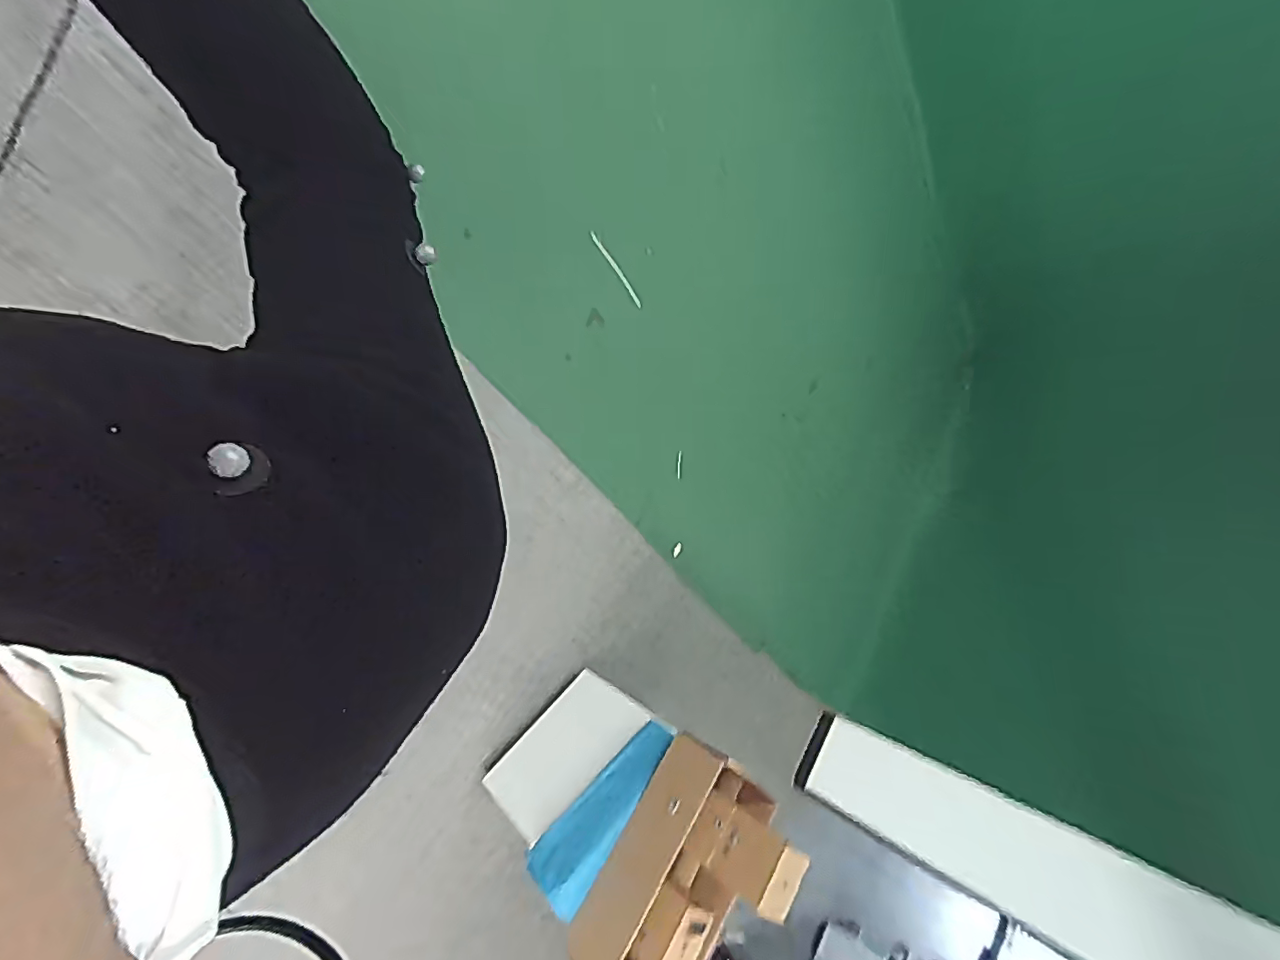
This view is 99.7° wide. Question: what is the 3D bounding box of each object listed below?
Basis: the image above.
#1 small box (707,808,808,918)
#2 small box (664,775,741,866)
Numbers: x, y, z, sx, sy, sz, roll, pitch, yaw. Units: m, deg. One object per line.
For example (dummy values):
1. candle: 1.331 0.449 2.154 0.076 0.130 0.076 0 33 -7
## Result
1. small box: 0.314 1.019 1.447 0.168 0.176 0.179 -55 128 -19
2. small box: 0.203 0.992 1.565 0.168 0.176 0.179 -55 129 -19
